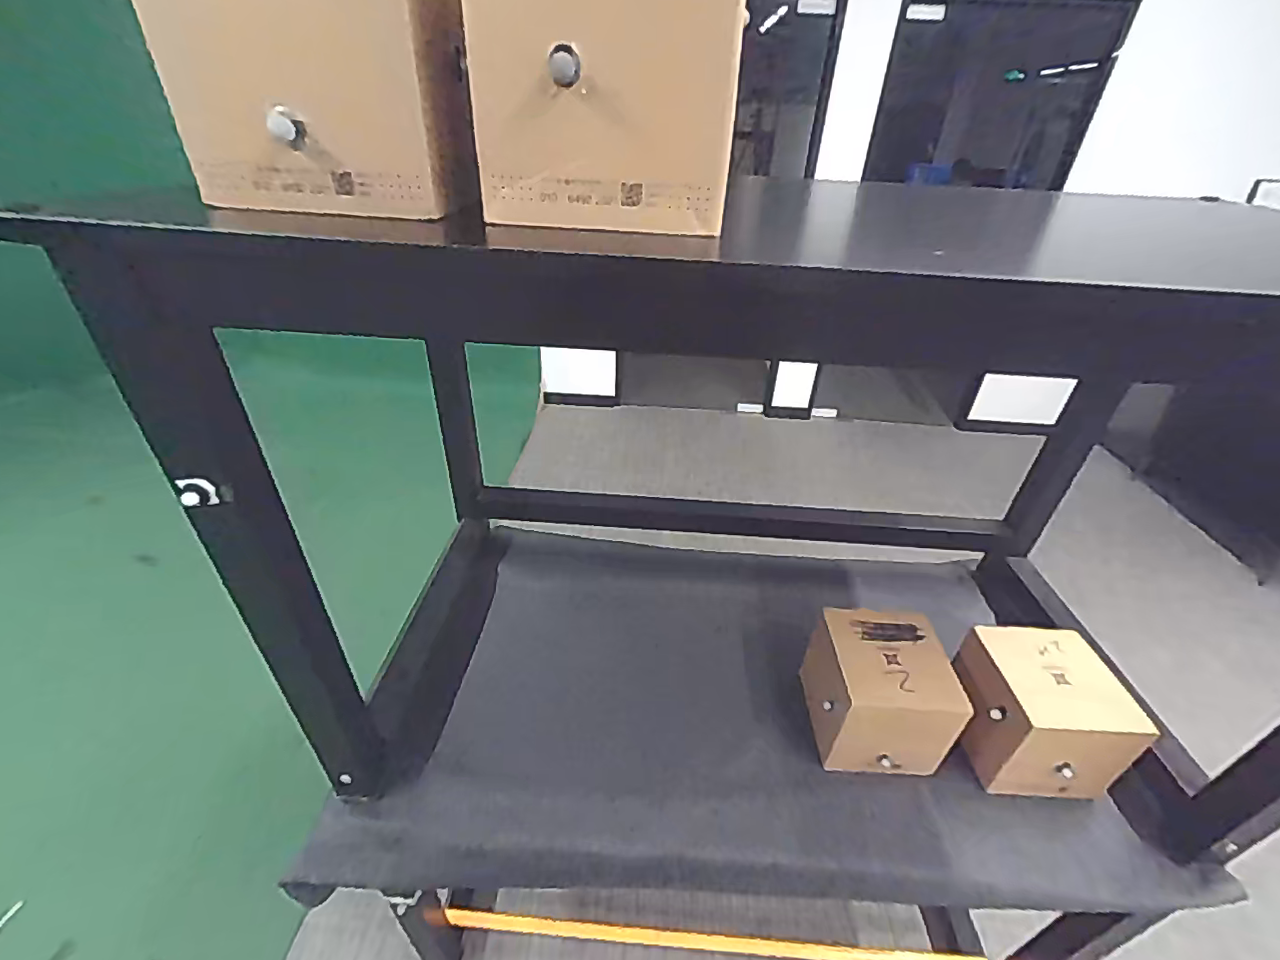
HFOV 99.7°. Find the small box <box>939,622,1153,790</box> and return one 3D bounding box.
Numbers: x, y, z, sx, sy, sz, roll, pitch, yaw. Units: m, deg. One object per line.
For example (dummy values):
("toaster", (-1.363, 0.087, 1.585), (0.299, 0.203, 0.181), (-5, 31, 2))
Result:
("small box", (0.593, 0.342, 0.820), (0.168, 0.176, 0.179), (3, 33, 0))

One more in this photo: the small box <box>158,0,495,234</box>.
("small box", (-0.215, -0.297, 0.410), (0.168, 0.176, 0.179), (3, 35, 1))
